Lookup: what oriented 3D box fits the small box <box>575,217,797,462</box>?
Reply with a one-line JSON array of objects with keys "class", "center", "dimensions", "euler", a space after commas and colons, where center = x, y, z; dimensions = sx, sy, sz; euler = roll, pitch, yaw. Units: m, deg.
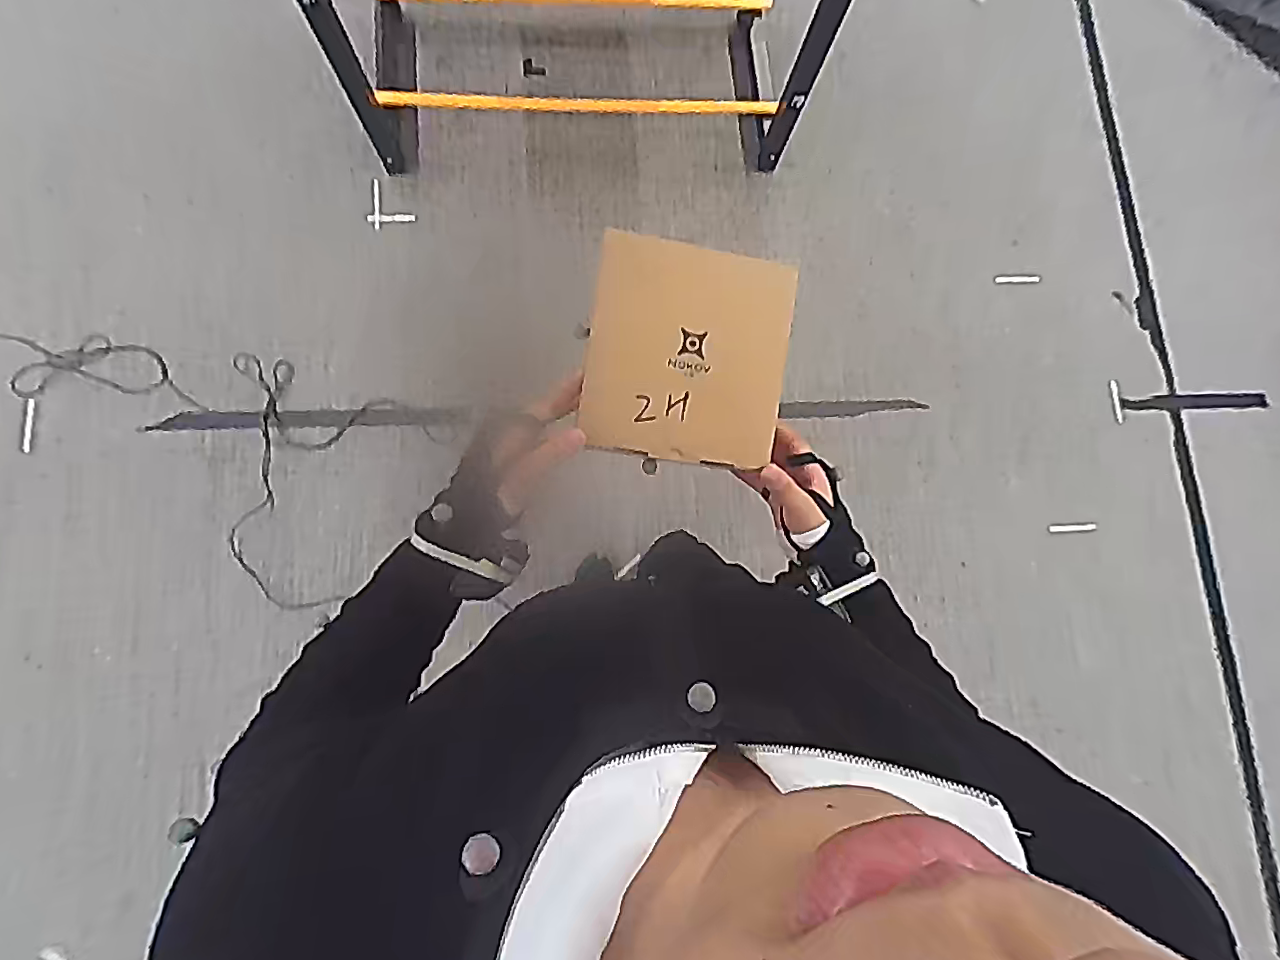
[{"class": "small box", "center": [0.030, -0.115, 0.521], "dimensions": [0.168, 0.176, 0.179], "euler": [8, 91, -8]}]
